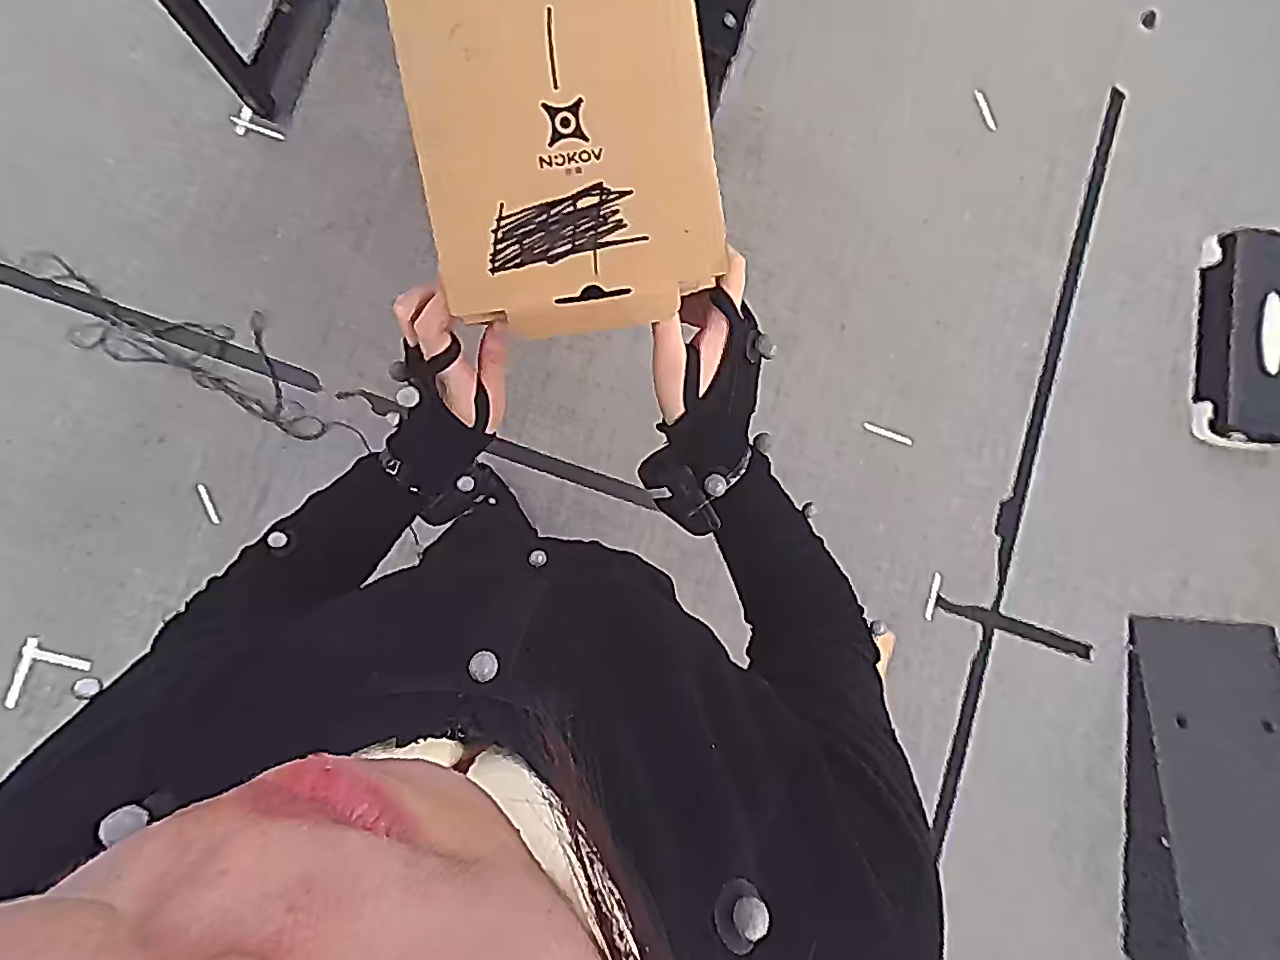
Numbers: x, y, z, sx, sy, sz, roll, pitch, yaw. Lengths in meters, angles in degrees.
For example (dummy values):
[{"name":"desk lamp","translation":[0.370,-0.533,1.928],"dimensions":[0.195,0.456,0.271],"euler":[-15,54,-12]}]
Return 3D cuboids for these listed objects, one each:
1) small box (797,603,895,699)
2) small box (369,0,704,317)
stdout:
[{"name":"small box","translation":[0.546,0.454,1.459],"dimensions":[0.168,0.176,0.179],"euler":[21,86,-5]},{"name":"small box","translation":[-0.058,-0.216,0.380],"dimensions":[0.168,0.176,0.179],"euler":[-10,106,-3]}]
